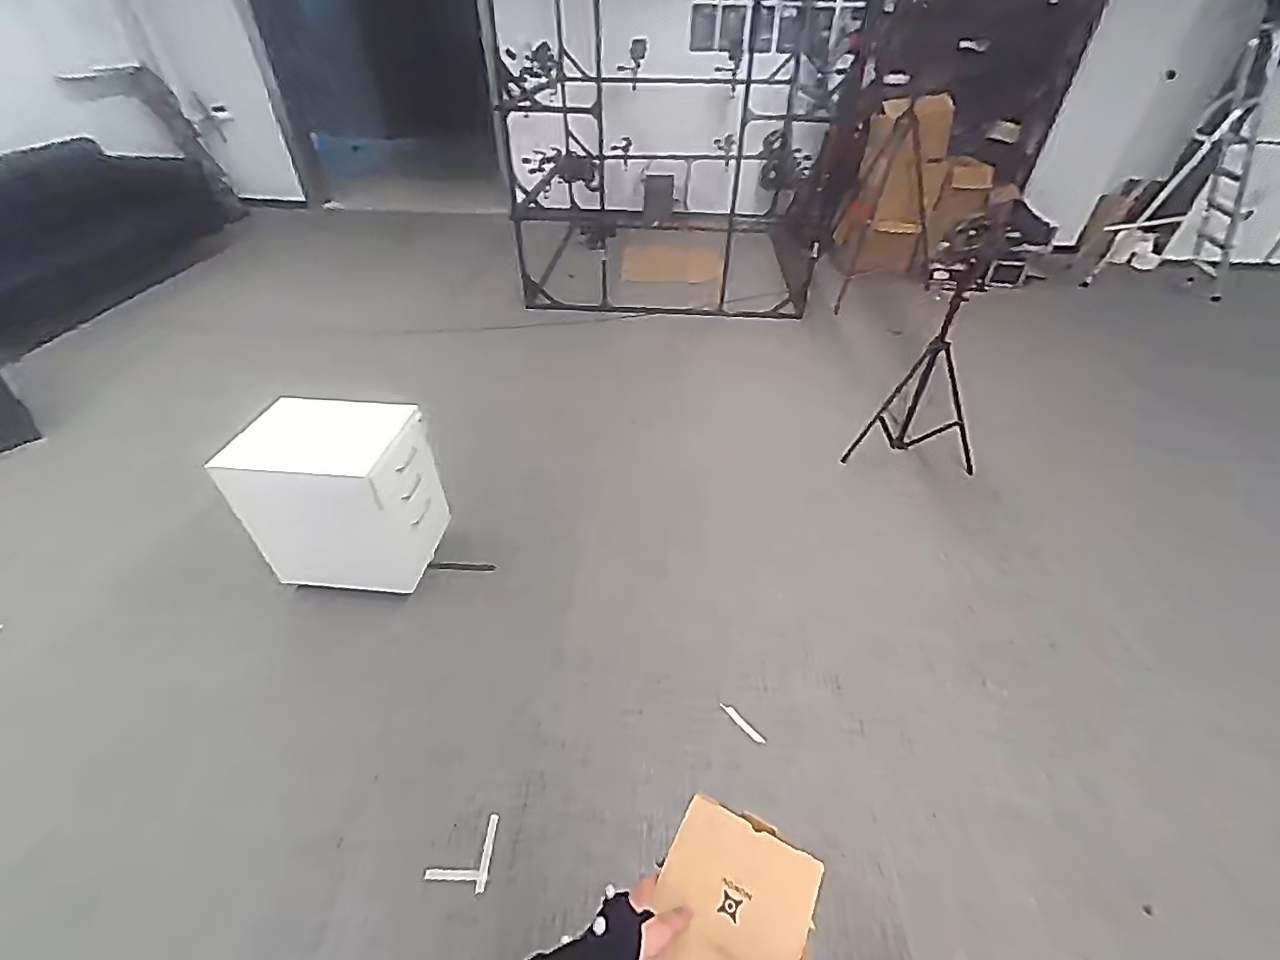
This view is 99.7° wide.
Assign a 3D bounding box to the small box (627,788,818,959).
[{"bbox_3d":[0.094,0.524,0.651,0.168,0.176,0.179,21,45,21],"label":"small box"}]
